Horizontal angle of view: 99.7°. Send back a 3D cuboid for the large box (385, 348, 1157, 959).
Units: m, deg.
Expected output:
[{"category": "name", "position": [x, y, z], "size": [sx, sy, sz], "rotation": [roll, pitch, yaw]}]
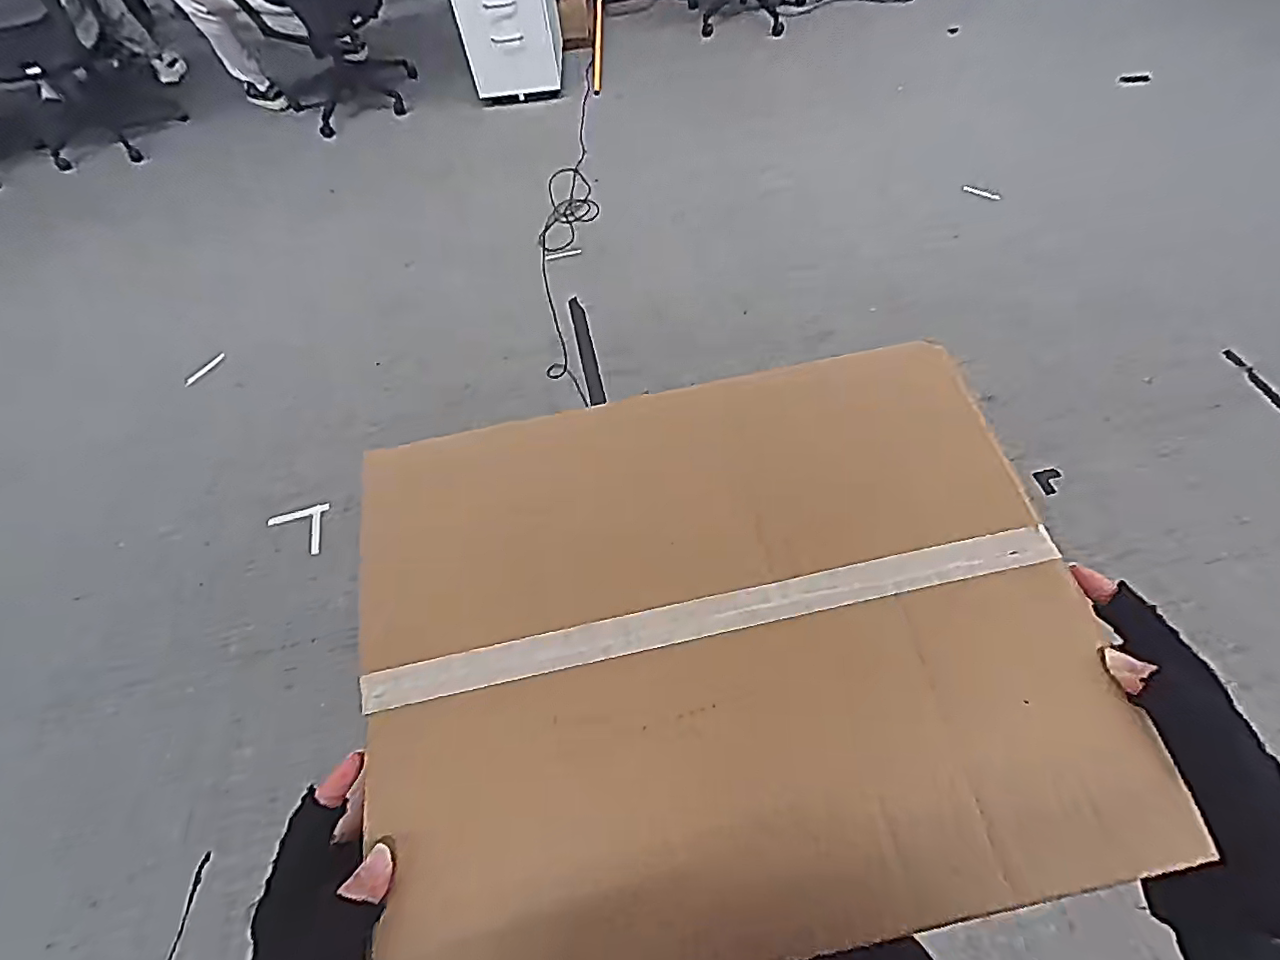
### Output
[{"category": "large box", "position": [0.050, 0.141, 0.465], "size": [0.408, 0.320, 0.320], "rotation": [-12, 67, -2]}]
